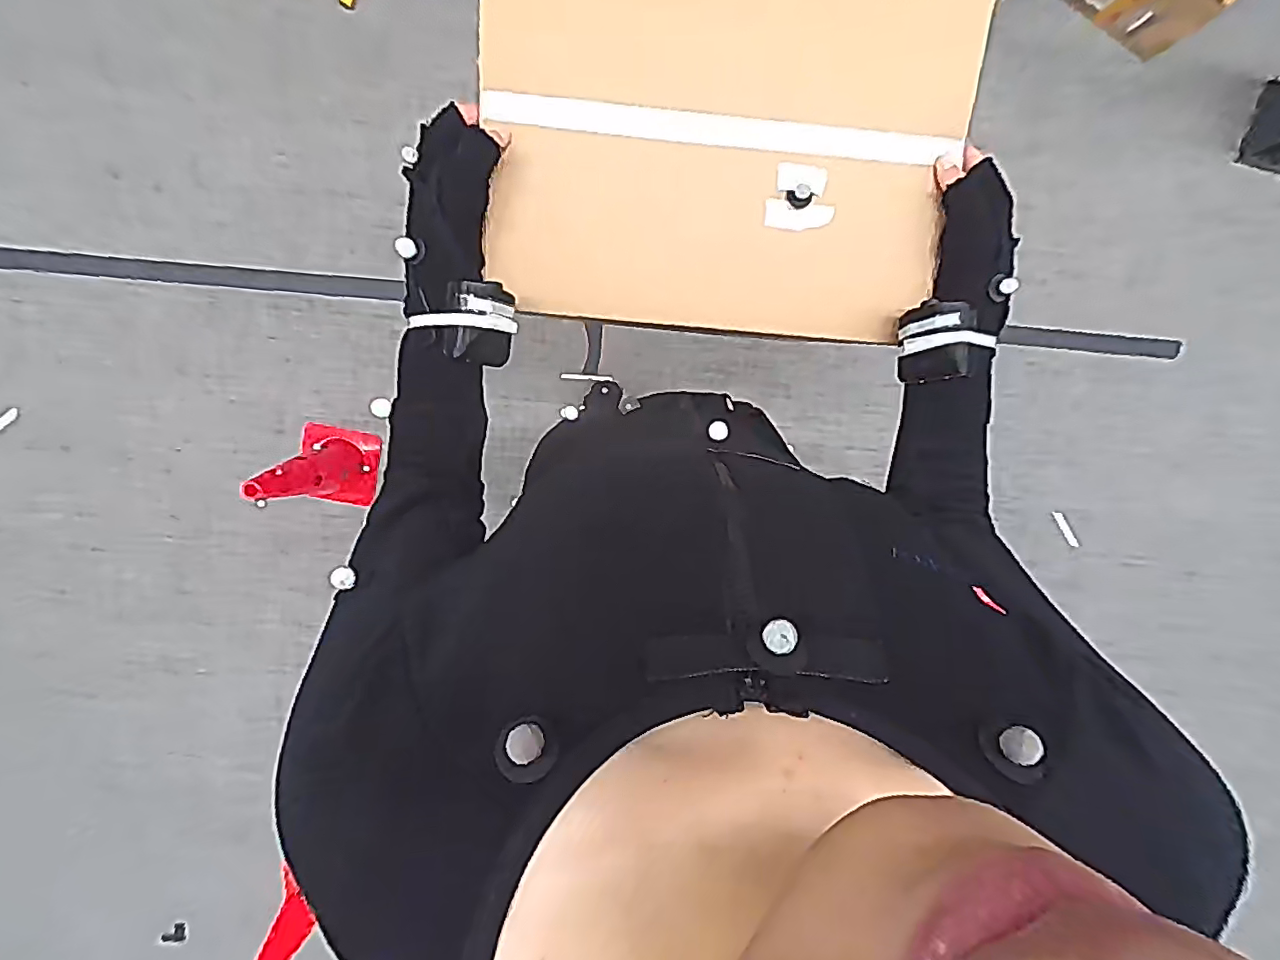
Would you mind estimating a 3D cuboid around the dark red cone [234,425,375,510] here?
[{"bbox_3d":[-0.788,-0.006,1.245,0.201,0.394,0.202,10,99,-5],"label":"dark red cone"}]

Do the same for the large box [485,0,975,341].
[{"bbox_3d":[0.060,-0.327,0.603,0.408,0.320,0.320,4,105,-4],"label":"large box"}]
